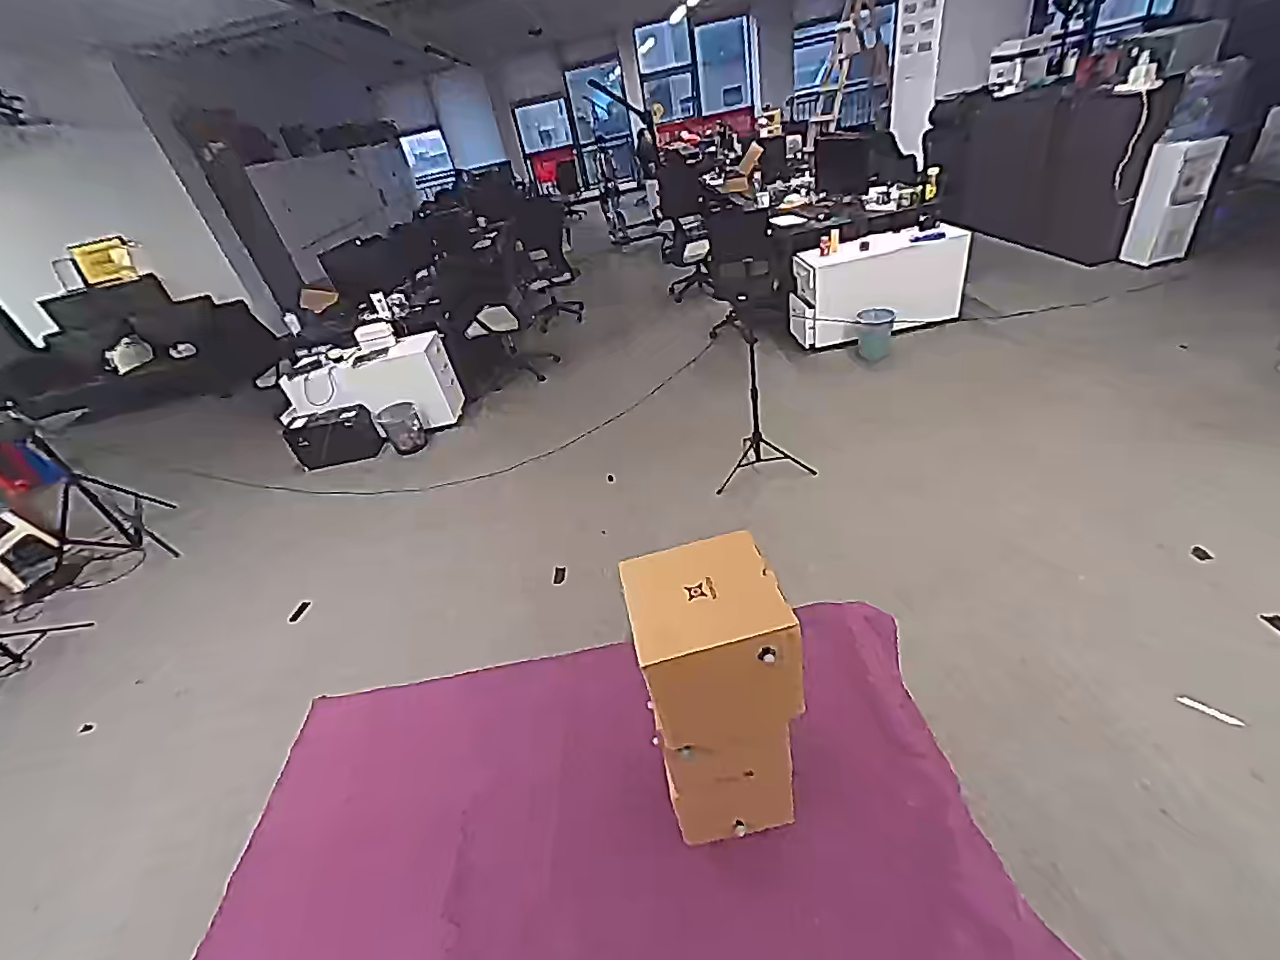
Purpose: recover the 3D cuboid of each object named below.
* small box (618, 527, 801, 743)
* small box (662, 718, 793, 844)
[{"bbox_3d":[0.084,0.189,0.662,0.179,0.176,0.168,-15,34,-3],"label":"small box"},{"bbox_3d":[0.133,0.444,0.863,0.179,0.176,0.168,-13,34,0],"label":"small box"}]
